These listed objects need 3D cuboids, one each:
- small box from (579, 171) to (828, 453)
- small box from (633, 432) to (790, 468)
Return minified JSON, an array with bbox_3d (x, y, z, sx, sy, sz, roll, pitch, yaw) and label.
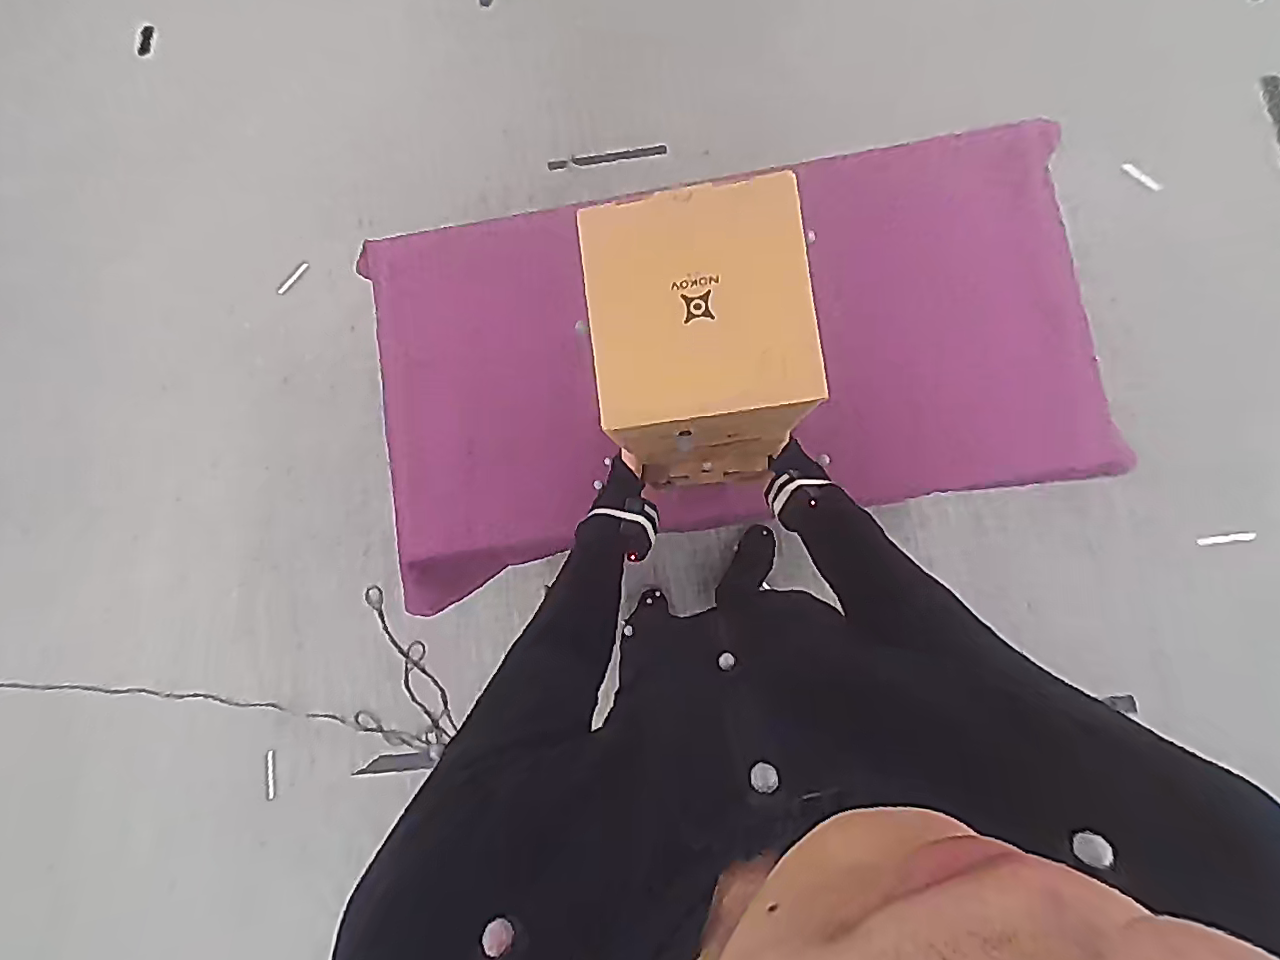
[{"bbox_3d":[0.053,-0.122,0.471,0.168,0.176,0.179,-8,84,6],"label":"small box"},{"bbox_3d":[0.073,-0.114,0.633,0.168,0.176,0.179,-4,86,6],"label":"small box"}]
